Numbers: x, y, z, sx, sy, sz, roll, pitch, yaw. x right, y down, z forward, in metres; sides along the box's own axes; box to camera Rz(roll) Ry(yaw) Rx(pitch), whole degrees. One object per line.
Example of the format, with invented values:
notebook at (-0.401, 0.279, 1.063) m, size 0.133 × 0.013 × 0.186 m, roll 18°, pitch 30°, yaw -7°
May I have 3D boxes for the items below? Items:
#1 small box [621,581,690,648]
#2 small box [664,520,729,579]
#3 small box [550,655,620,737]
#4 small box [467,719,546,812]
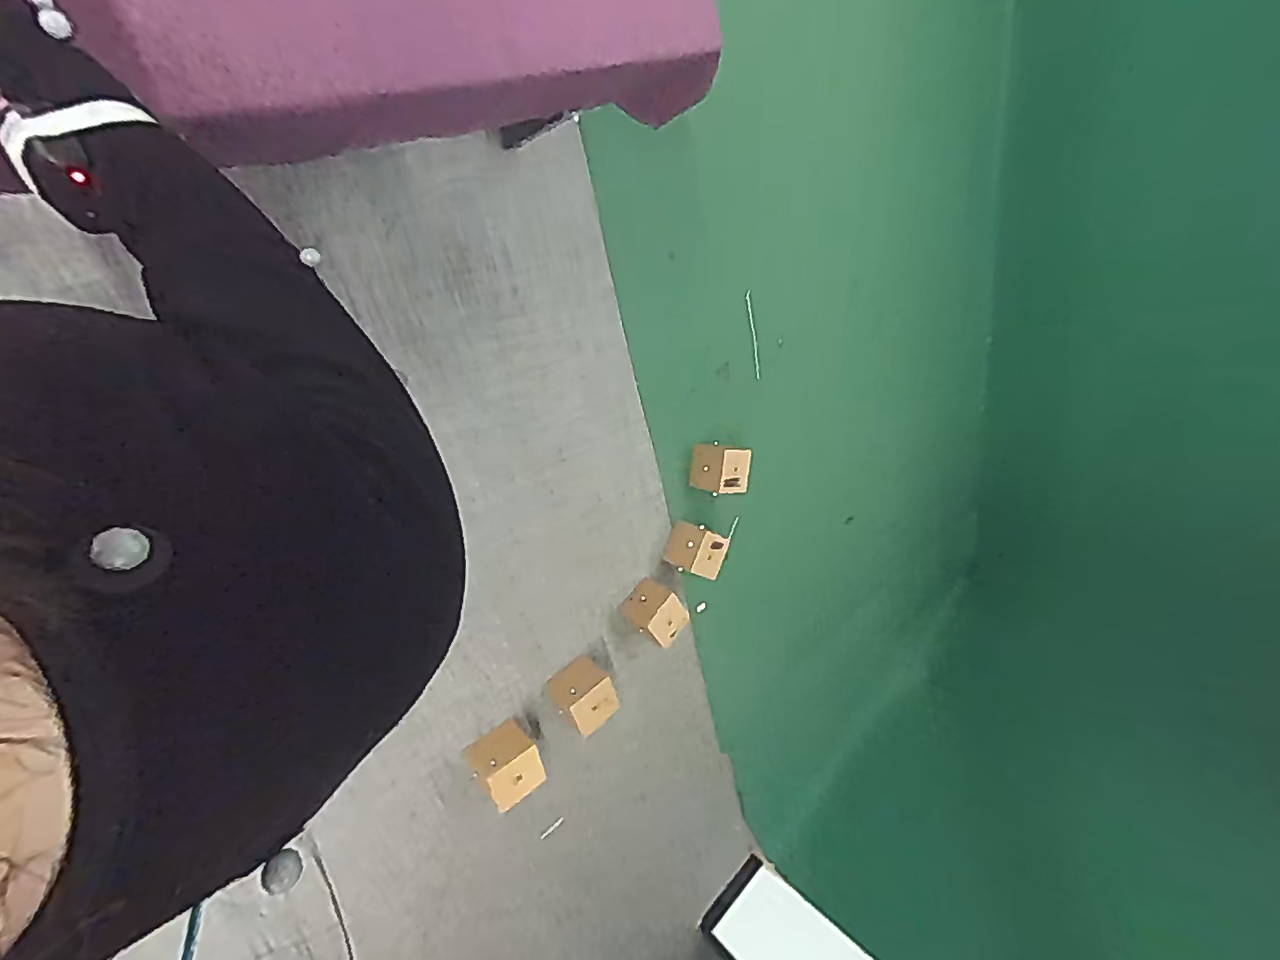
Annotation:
small box at (0.056, 0.512, 2.099) m, size 0.168 × 0.176 × 0.179 m, roll -47°, pitch 127°, yaw -21°
small box at (0.222, 0.276, 2.178) m, size 0.168 × 0.176 × 0.179 m, roll 25°, pitch 85°, yaw -42°
small box at (-0.205, 0.768, 1.942) m, size 0.179 × 0.176 × 0.168 m, roll -32°, pitch 121°, yaw -30°
small box at (-0.441, 0.933, 1.787) m, size 0.179 × 0.176 × 0.168 m, roll -26°, pitch 117°, yaw -32°
